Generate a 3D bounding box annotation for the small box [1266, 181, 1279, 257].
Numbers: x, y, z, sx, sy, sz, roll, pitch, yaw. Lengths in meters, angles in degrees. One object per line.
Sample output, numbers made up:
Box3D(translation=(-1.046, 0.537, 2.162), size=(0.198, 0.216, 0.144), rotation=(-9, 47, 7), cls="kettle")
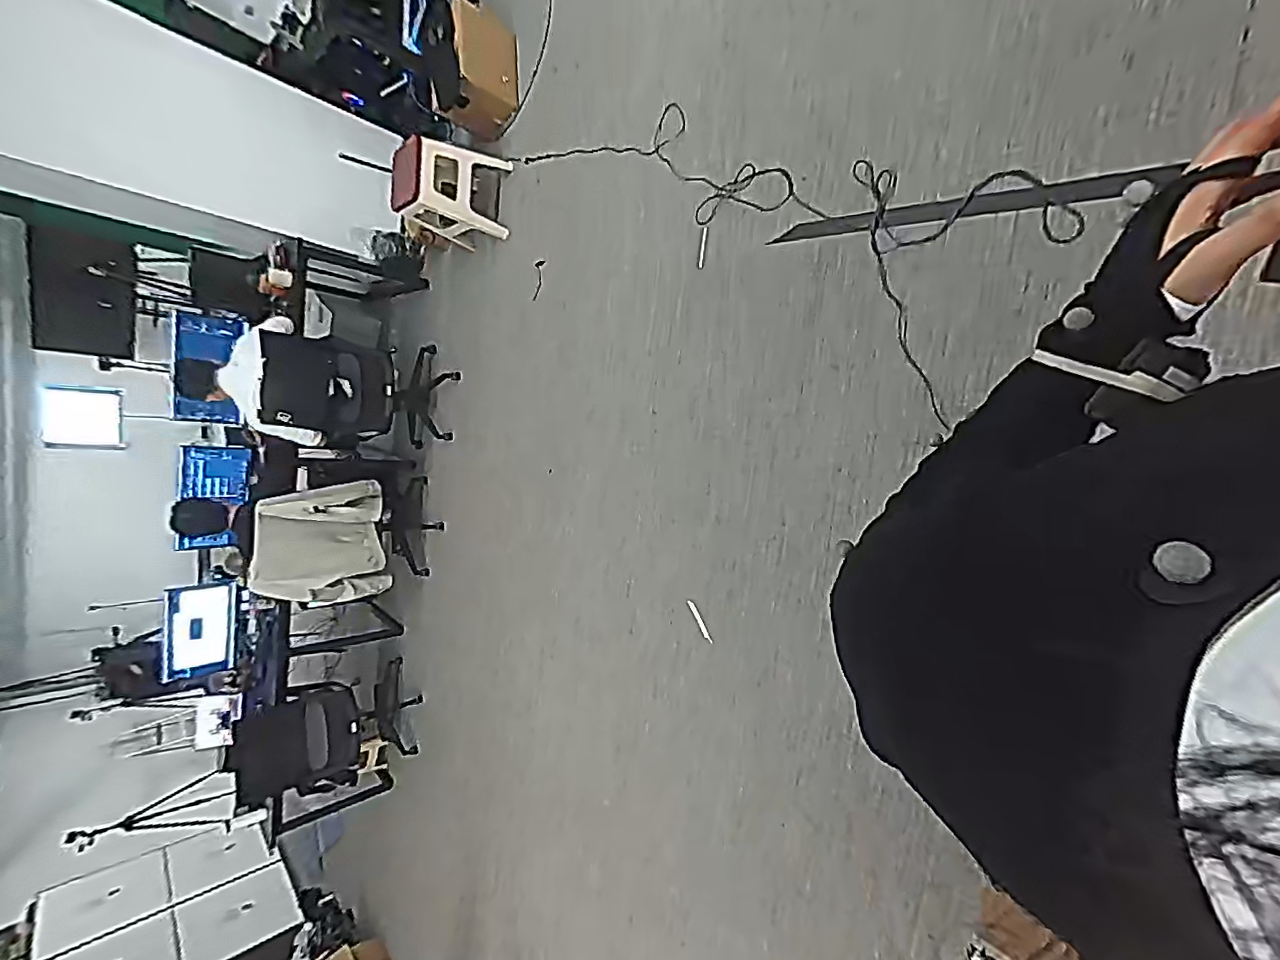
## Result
Box3D(translation=(0.460, -0.218, 0.261), size=(0.168, 0.176, 0.179), rotation=(23, 104, 43), cls="small box")
